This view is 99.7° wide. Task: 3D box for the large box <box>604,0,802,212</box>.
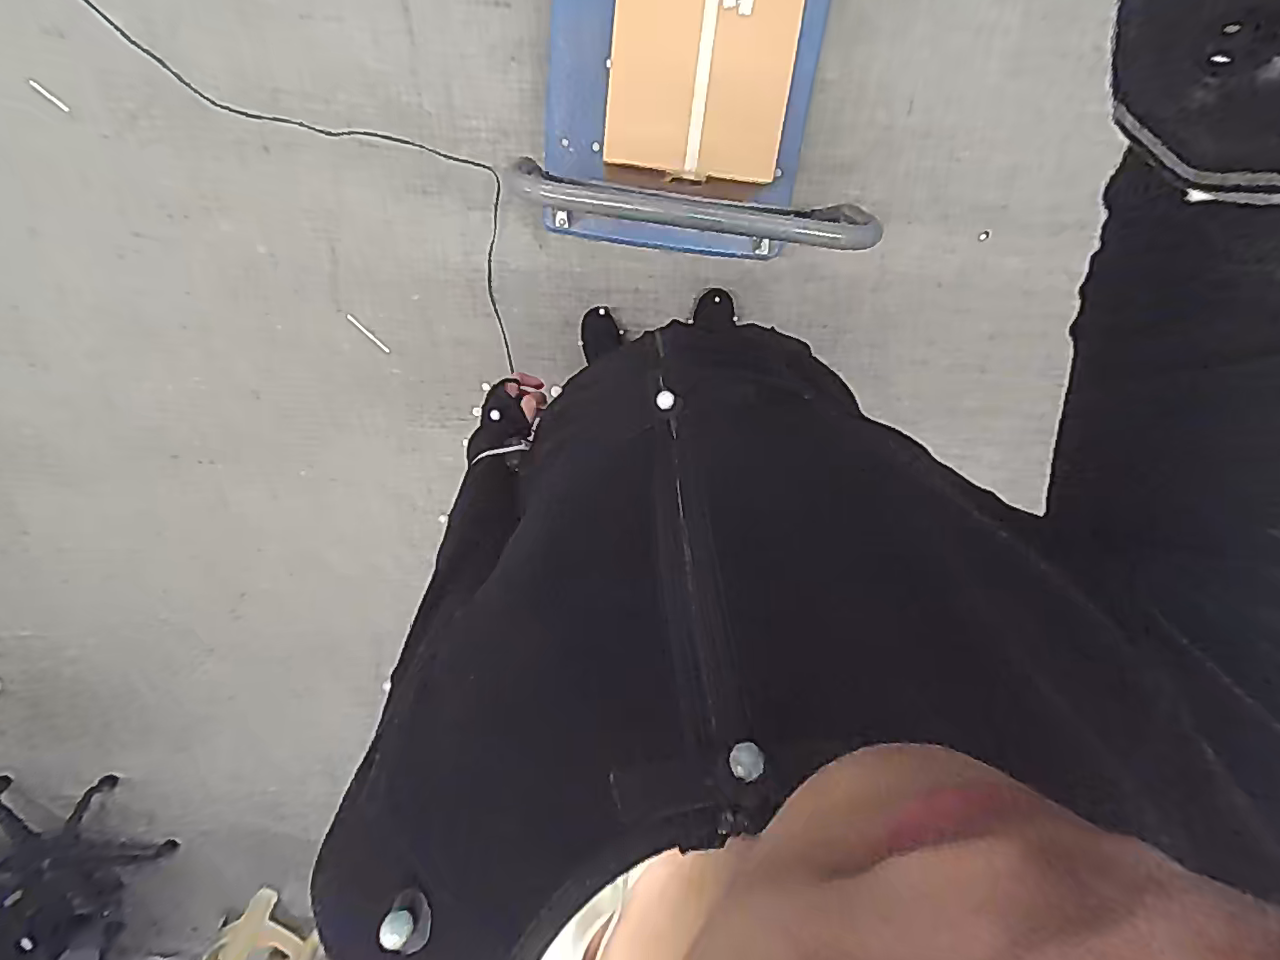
[{"bbox_3d":[0.106,-0.780,1.062,0.320,0.320,0.408,6,108,-4],"label":"large box"}]
